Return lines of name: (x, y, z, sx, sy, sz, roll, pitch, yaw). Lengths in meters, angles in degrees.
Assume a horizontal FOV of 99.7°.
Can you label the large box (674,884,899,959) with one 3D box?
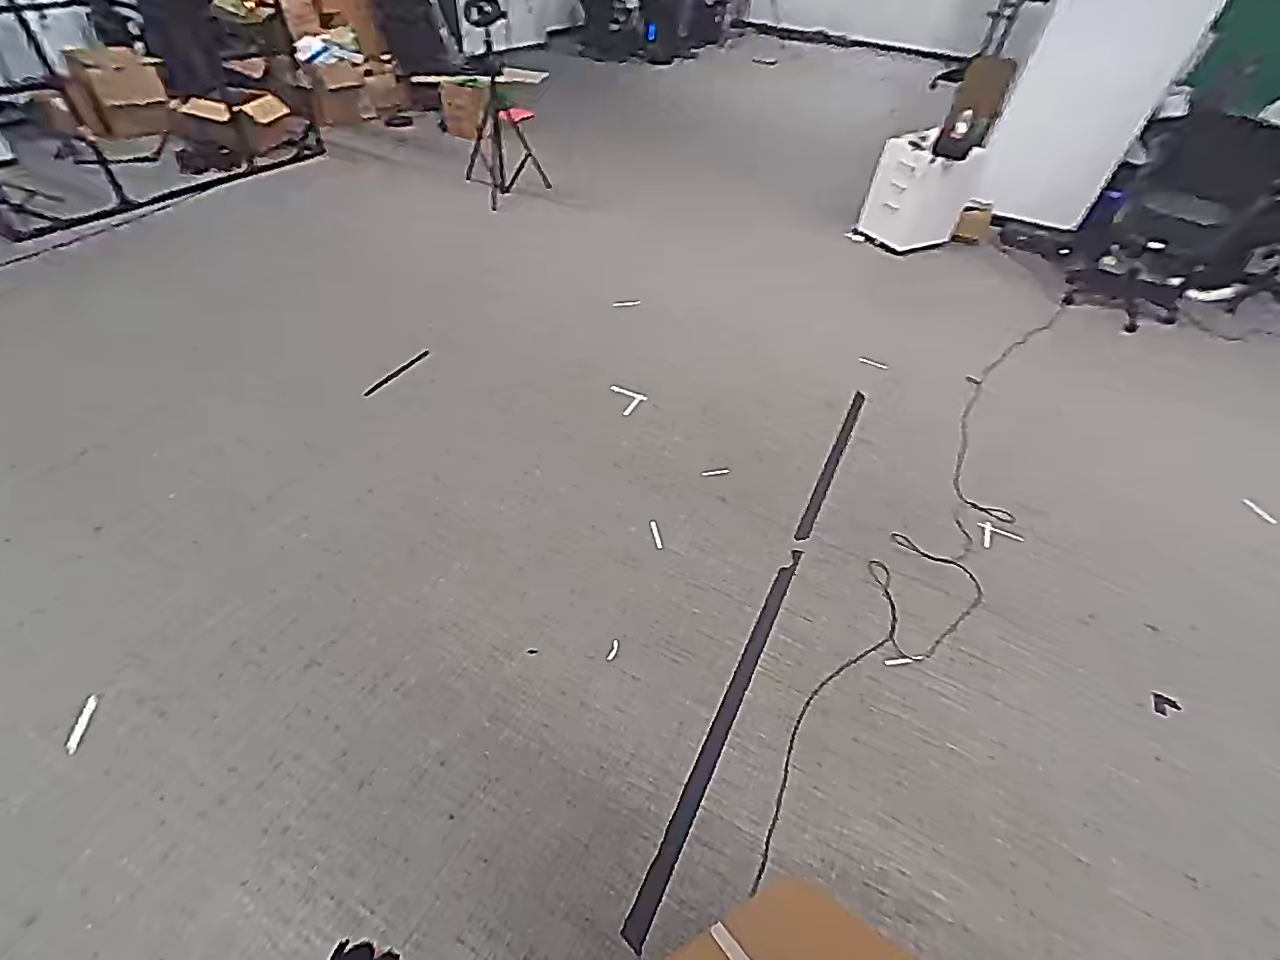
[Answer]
large box: (0.222, 0.784, 0.635, 0.320, 0.408, 0.320, -20, 77, -18)
